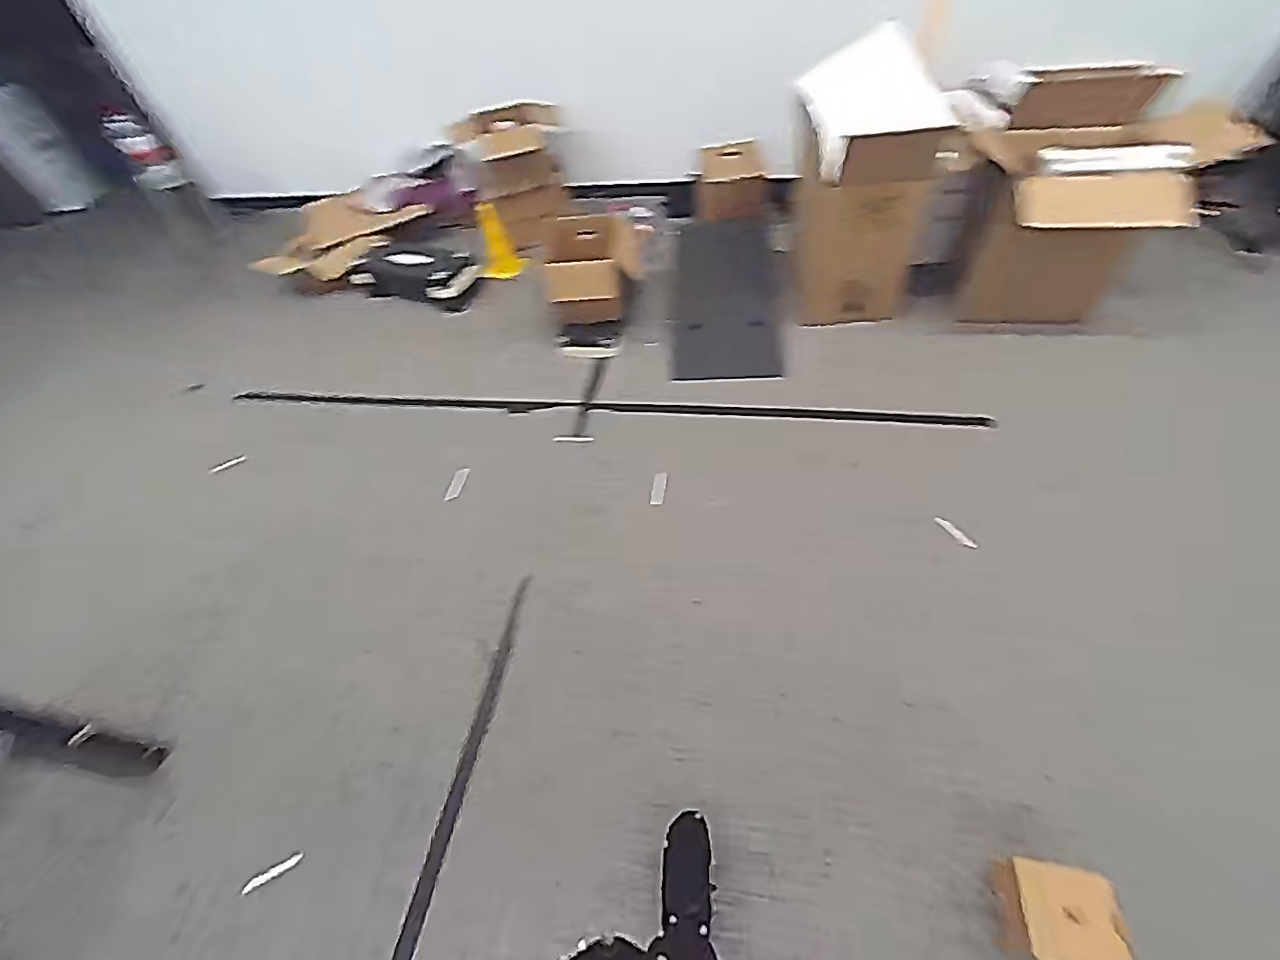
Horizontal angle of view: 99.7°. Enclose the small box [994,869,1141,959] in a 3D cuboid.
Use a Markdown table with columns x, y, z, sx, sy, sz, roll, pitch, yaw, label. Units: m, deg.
| x | y | z | sx | sy | sz | roll | pitch | yaw | label |
| --- | --- | --- | --- | --- | --- | --- | --- | --- | --- |
| 0.870 | 0.923 | 1.111 | 0.179 | 0.176 | 0.168 | 5 | 51 | 11 | small box |
